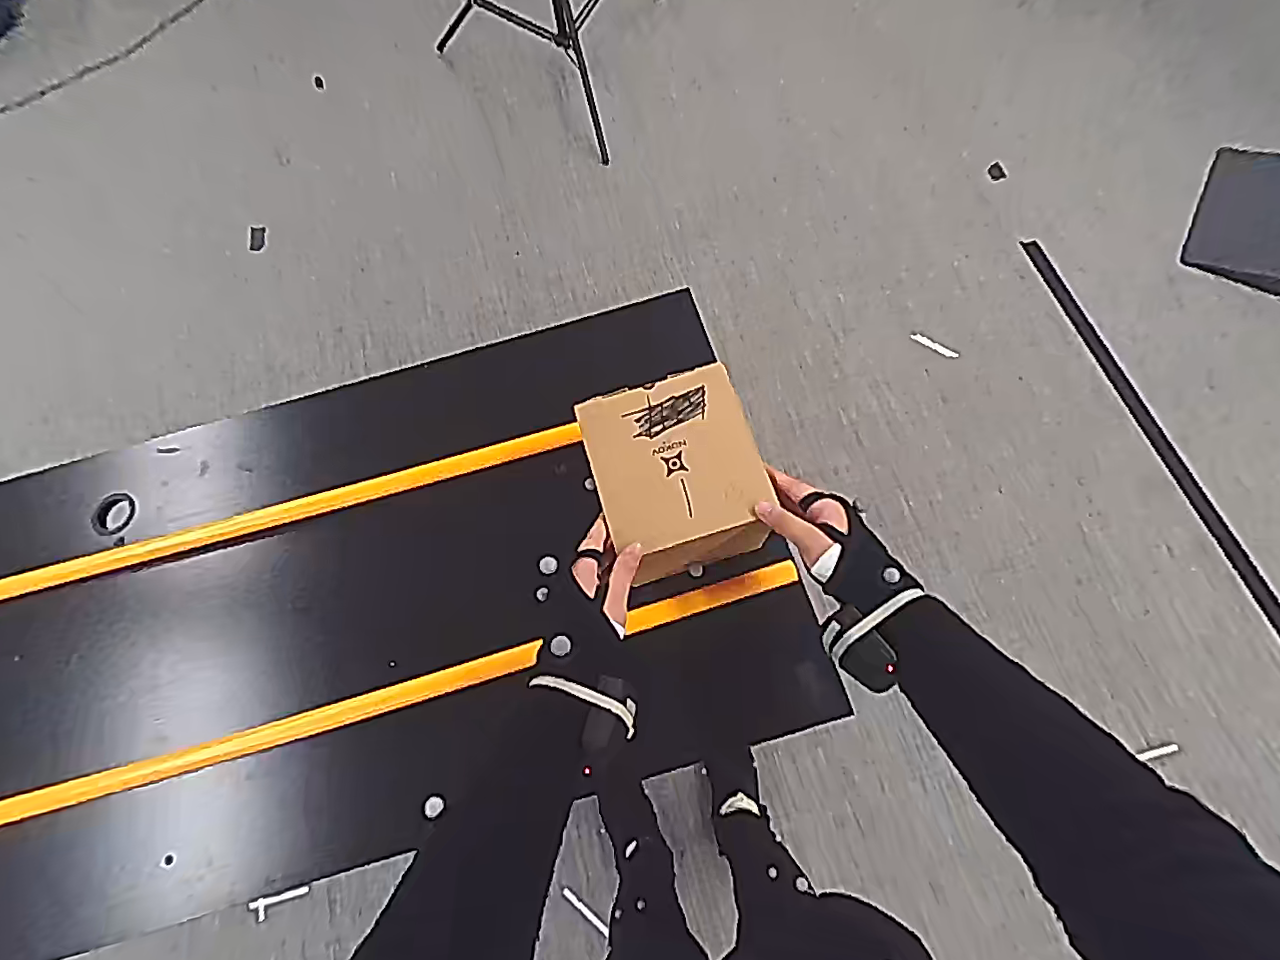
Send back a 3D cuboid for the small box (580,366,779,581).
[{"bbox_3d":[0.040,0.002,0.623,0.168,0.176,0.179,-17,71,-1],"label":"small box"}]
